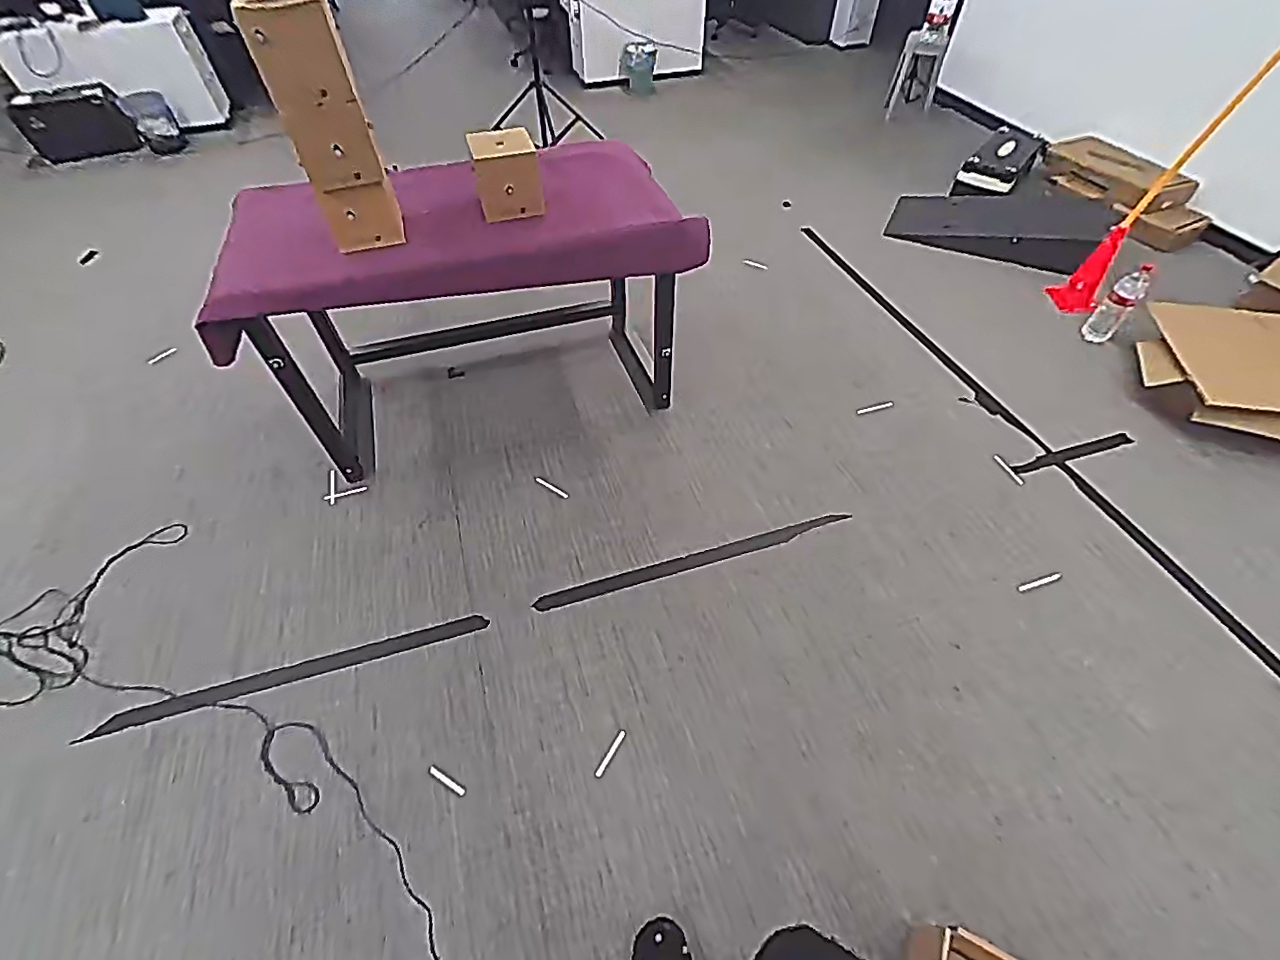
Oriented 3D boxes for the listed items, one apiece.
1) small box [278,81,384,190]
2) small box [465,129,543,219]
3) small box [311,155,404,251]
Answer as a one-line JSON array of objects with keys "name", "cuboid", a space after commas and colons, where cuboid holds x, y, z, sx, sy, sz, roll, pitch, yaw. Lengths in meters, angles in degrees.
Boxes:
[{"name": "small box", "cuboid": [-0.723, -0.806, 1.275, 0.168, 0.176, 0.179, -19, 54, -14]}, {"name": "small box", "cuboid": [-0.376, -0.848, 1.511, 0.168, 0.176, 0.179, -15, 53, -11]}, {"name": "small box", "cuboid": [-0.733, -0.719, 1.416, 0.168, 0.176, 0.179, -15, 53, -11]}]
